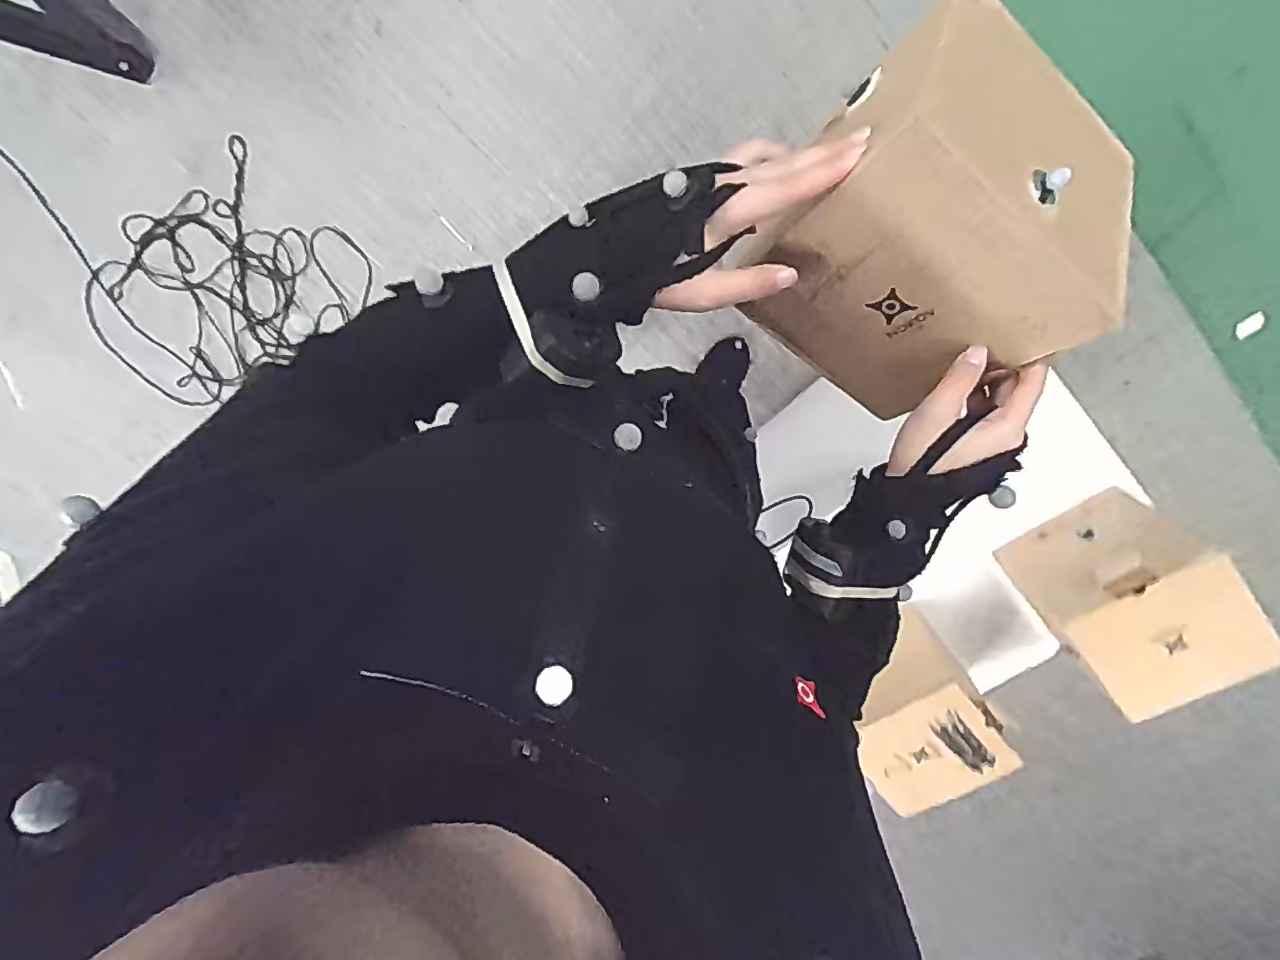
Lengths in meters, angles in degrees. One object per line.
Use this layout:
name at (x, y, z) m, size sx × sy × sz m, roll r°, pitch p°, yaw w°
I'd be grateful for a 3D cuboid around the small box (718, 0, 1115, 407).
small box at (0.191, -0.187, 0.377) m, size 0.179 × 0.176 × 0.168 m, roll 32°, pitch 155°, yaw -15°

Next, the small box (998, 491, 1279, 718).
small box at (0.596, 0.145, 0.667) m, size 0.168 × 0.176 × 0.179 m, roll -38°, pitch 103°, yaw 20°
